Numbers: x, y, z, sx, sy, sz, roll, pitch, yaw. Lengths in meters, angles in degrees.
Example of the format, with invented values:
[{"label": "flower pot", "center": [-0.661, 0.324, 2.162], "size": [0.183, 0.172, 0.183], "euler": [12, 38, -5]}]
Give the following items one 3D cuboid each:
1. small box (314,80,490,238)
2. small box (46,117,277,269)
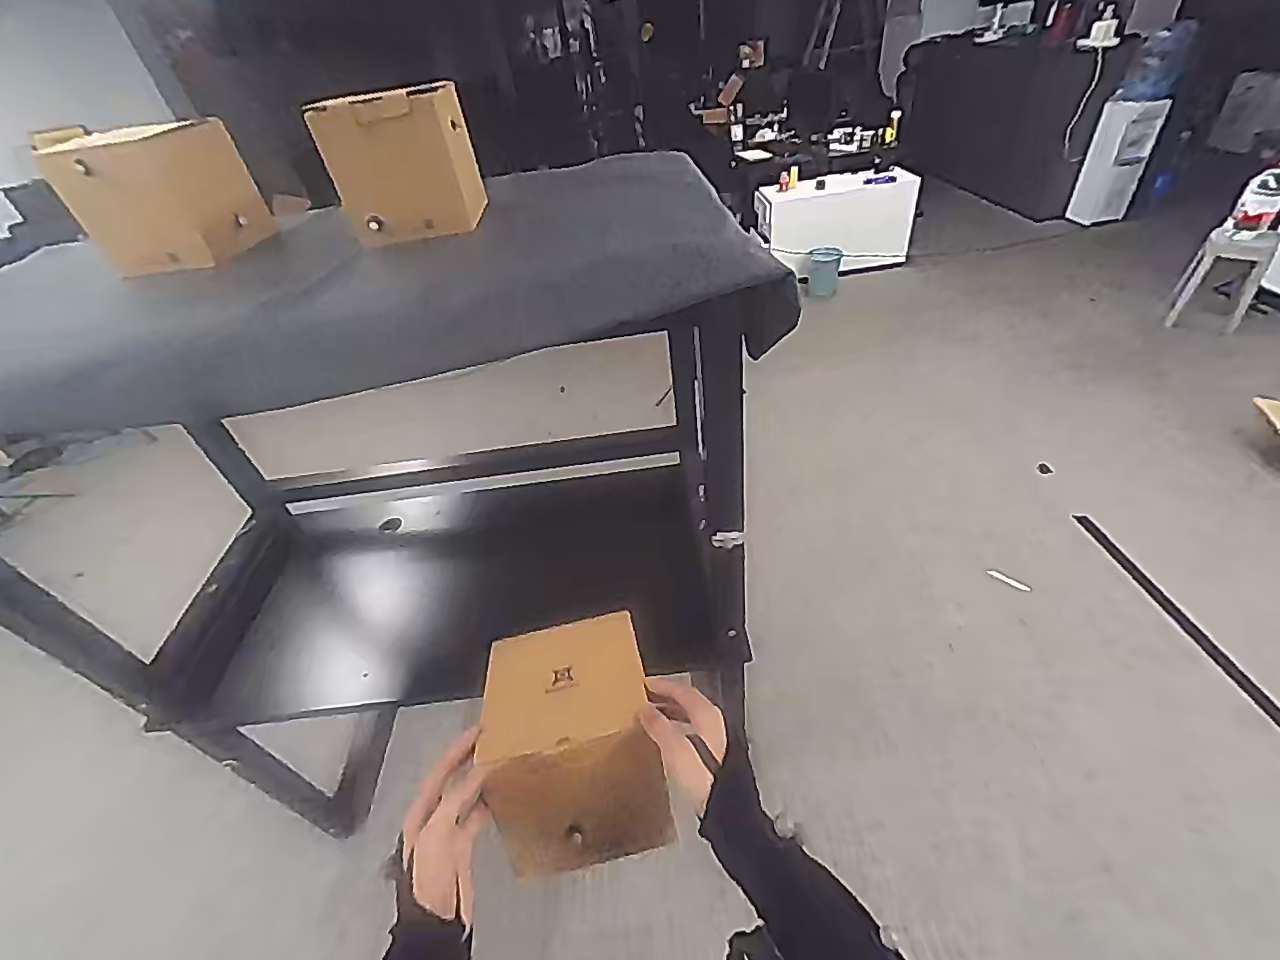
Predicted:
[{"label": "small box", "center": [-0.330, -0.468, 0.796], "size": [0.168, 0.176, 0.179], "euler": [-9, 39, 0]}, {"label": "small box", "center": [-0.705, -0.439, 0.830], "size": [0.168, 0.176, 0.179], "euler": [-4, 40, 5]}]
